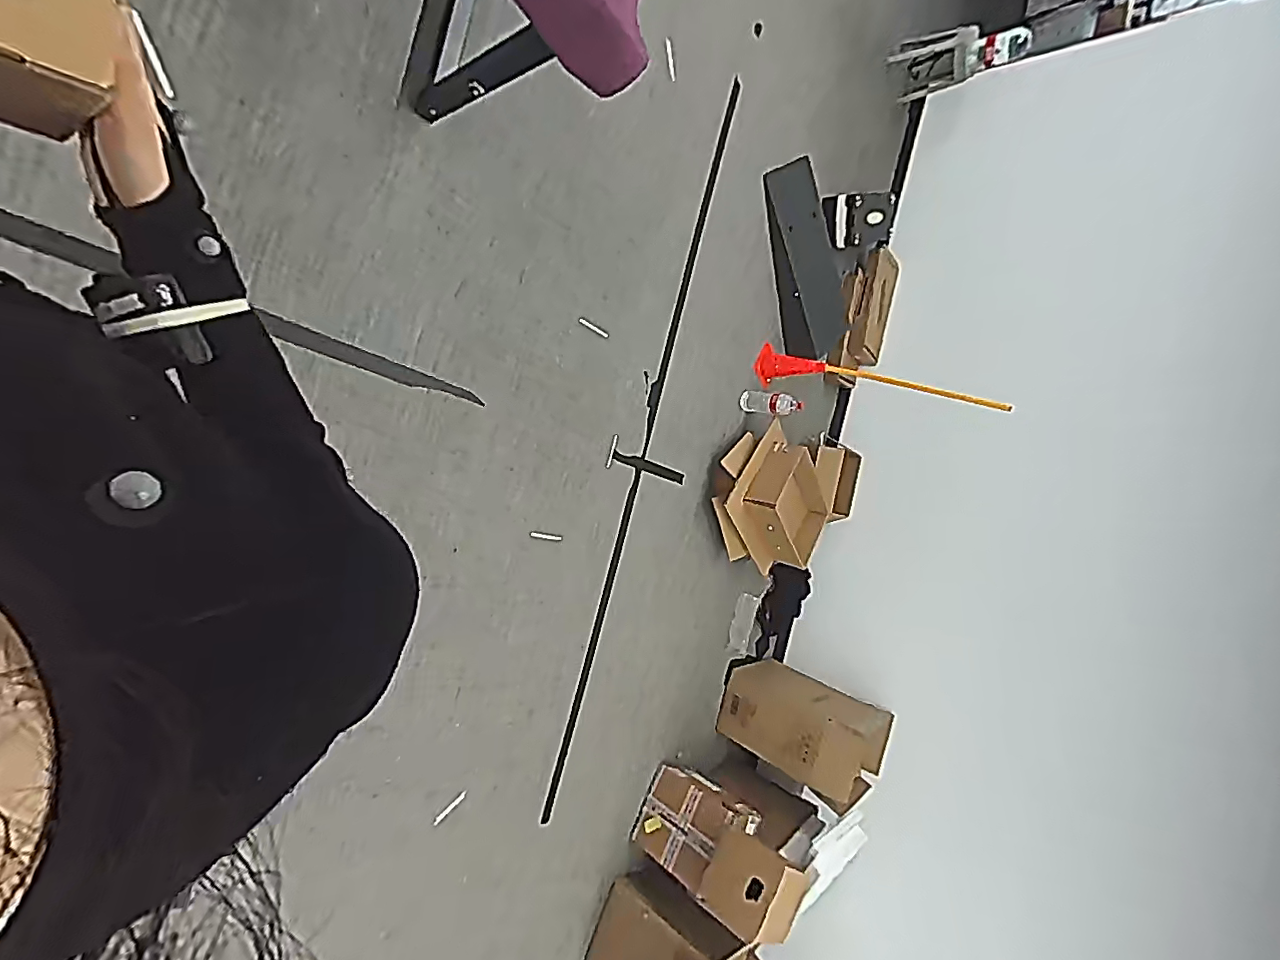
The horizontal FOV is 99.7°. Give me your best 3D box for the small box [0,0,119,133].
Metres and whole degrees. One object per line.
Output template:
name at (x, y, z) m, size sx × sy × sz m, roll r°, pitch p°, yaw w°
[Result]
small box at (-0.366, -0.293, 0.250) m, size 0.168 × 0.176 × 0.179 m, roll -3°, pitch 106°, yaw -52°
